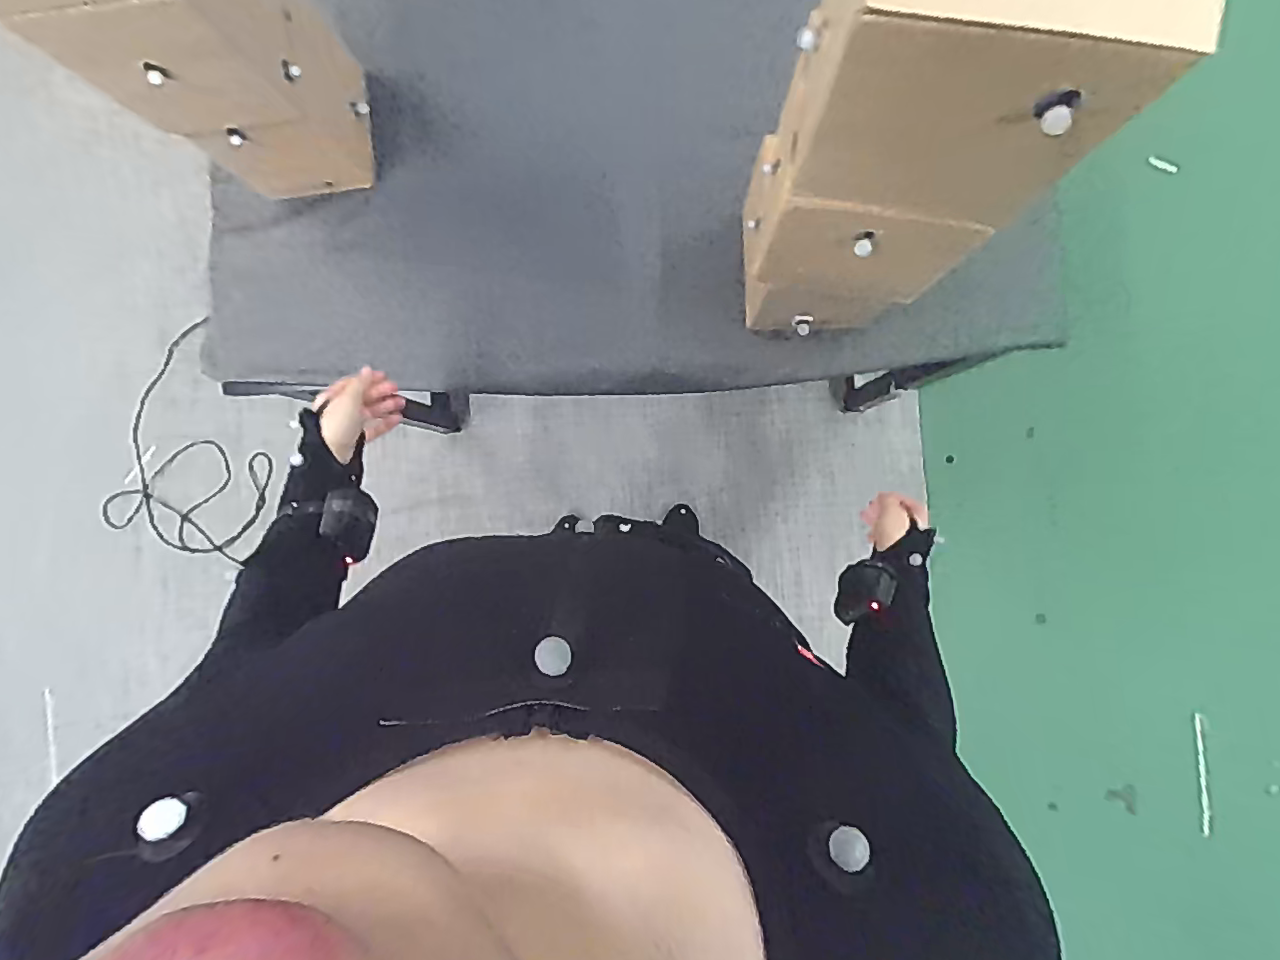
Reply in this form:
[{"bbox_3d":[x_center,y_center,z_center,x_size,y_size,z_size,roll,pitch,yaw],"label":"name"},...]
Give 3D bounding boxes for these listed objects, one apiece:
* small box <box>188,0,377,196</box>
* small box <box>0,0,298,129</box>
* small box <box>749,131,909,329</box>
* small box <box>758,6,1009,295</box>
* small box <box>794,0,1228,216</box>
[{"bbox_3d":[-0.473,-0.511,0.713,0.168,0.176,0.179,-6,90,2],"label":"small box"},{"bbox_3d":[-0.479,-0.495,0.548,0.179,0.176,0.168,-5,91,3],"label":"small box"},{"bbox_3d":[0.230,-0.301,0.674,0.168,0.176,0.179,-1,89,4],"label":"small box"},{"bbox_3d":[0.221,-0.290,0.512,0.179,0.176,0.168,9,89,5],"label":"small box"},{"bbox_3d":[0.215,-0.296,0.347,0.179,0.176,0.168,11,89,5],"label":"small box"}]
